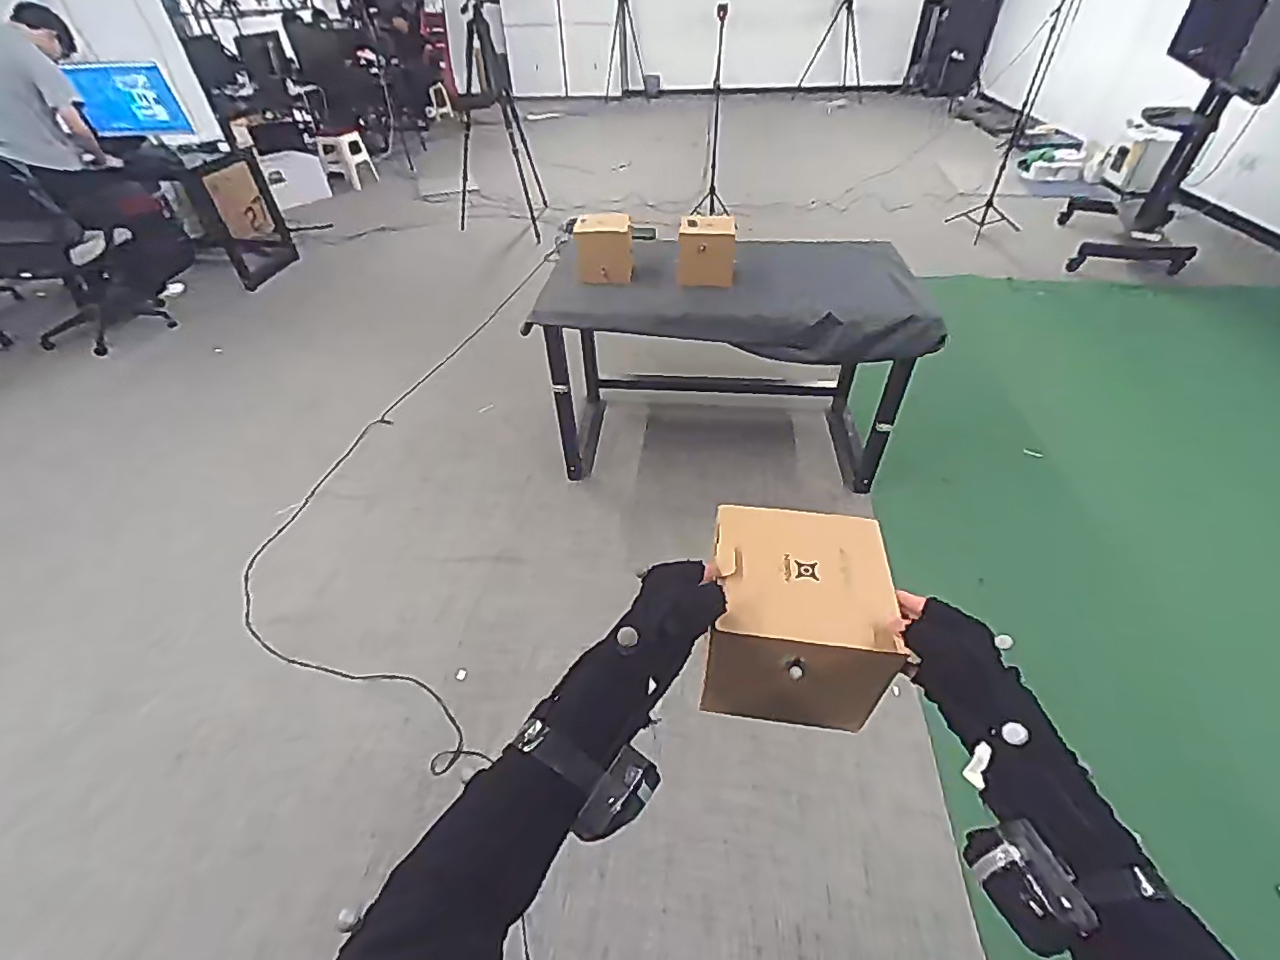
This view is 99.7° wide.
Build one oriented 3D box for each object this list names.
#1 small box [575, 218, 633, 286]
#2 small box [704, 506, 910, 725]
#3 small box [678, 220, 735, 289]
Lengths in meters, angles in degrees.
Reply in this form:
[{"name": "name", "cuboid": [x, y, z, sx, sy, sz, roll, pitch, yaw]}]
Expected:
[{"name": "small box", "cuboid": [-0.116, -0.762, 1.811, 0.179, 0.176, 0.168, 1, 43, 3]}, {"name": "small box", "cuboid": [0.167, 0.152, 0.601, 0.179, 0.176, 0.168, 6, 44, 4]}, {"name": "small box", "cuboid": [0.216, -0.738, 1.772, 0.179, 0.176, 0.168, 3, 43, 5]}]
